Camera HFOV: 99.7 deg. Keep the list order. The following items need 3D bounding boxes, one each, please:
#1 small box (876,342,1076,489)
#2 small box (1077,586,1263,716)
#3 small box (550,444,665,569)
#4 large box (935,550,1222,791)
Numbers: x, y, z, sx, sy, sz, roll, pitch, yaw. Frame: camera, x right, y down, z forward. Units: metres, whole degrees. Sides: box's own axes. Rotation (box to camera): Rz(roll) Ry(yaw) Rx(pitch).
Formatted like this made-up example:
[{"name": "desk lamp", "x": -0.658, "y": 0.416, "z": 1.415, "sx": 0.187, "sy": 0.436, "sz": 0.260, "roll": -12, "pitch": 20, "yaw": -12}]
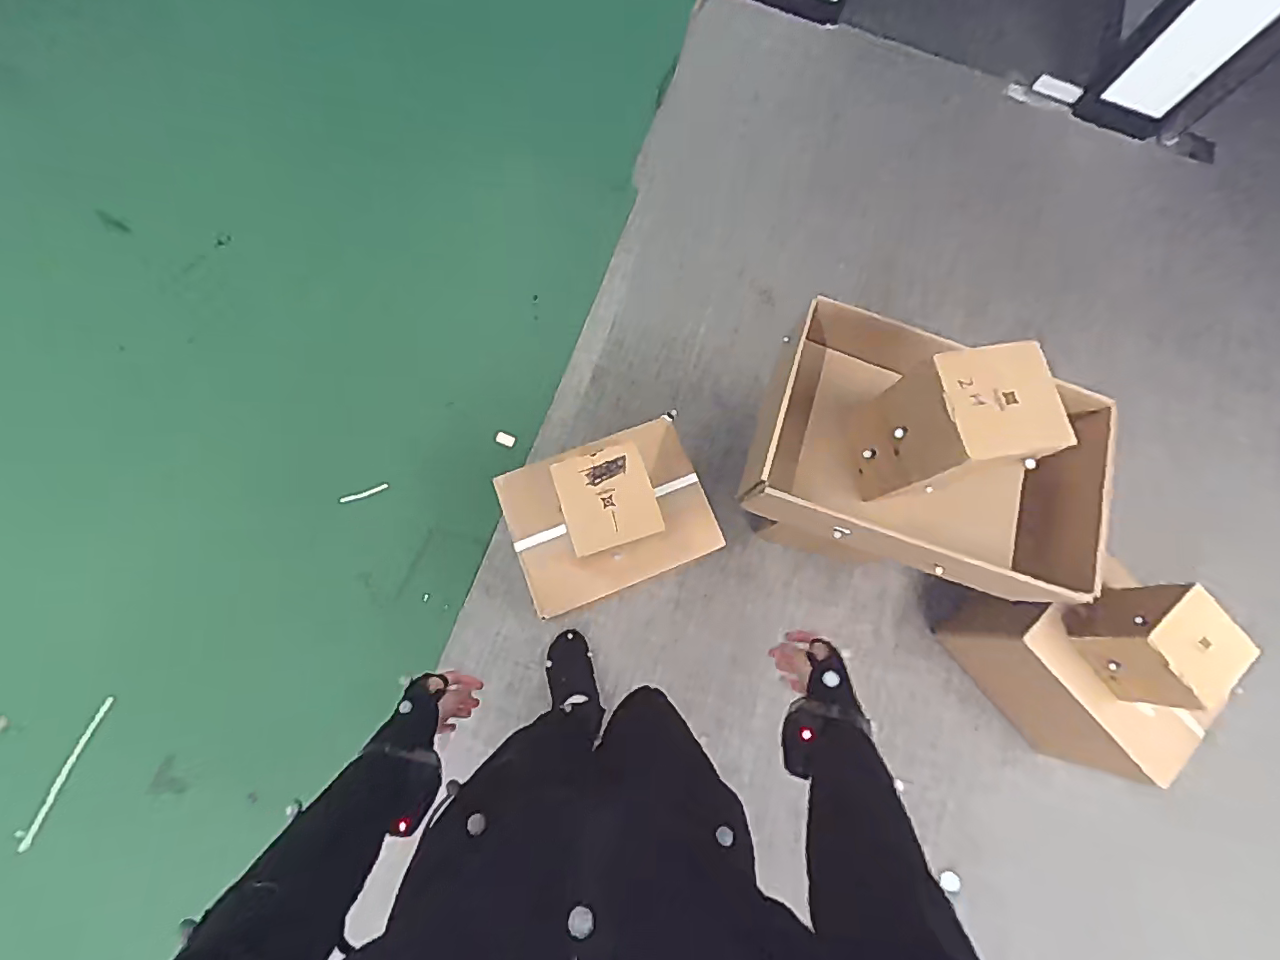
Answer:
[{"name": "small box", "x": 0.505, "y": -0.092, "z": 0.838, "sx": 0.179, "sy": 0.176, "sz": 0.168, "roll": -9, "pitch": 76, "yaw": -7}, {"name": "small box", "x": 1.029, "y": 0.329, "z": 1.066, "sx": 0.179, "sy": 0.176, "sz": 0.168, "roll": -35, "pitch": 82, "yaw": -14}, {"name": "small box", "x": -0.067, "y": 0.056, "z": 1.019, "sx": 0.168, "sy": 0.176, "sz": 0.179, "roll": -17, "pitch": 78, "yaw": -10}, {"name": "large box", "x": 1.026, "y": 0.427, "z": 1.293, "sx": 0.320, "sy": 0.320, "sz": 0.408, "roll": -39, "pitch": 84, "yaw": -13}]
